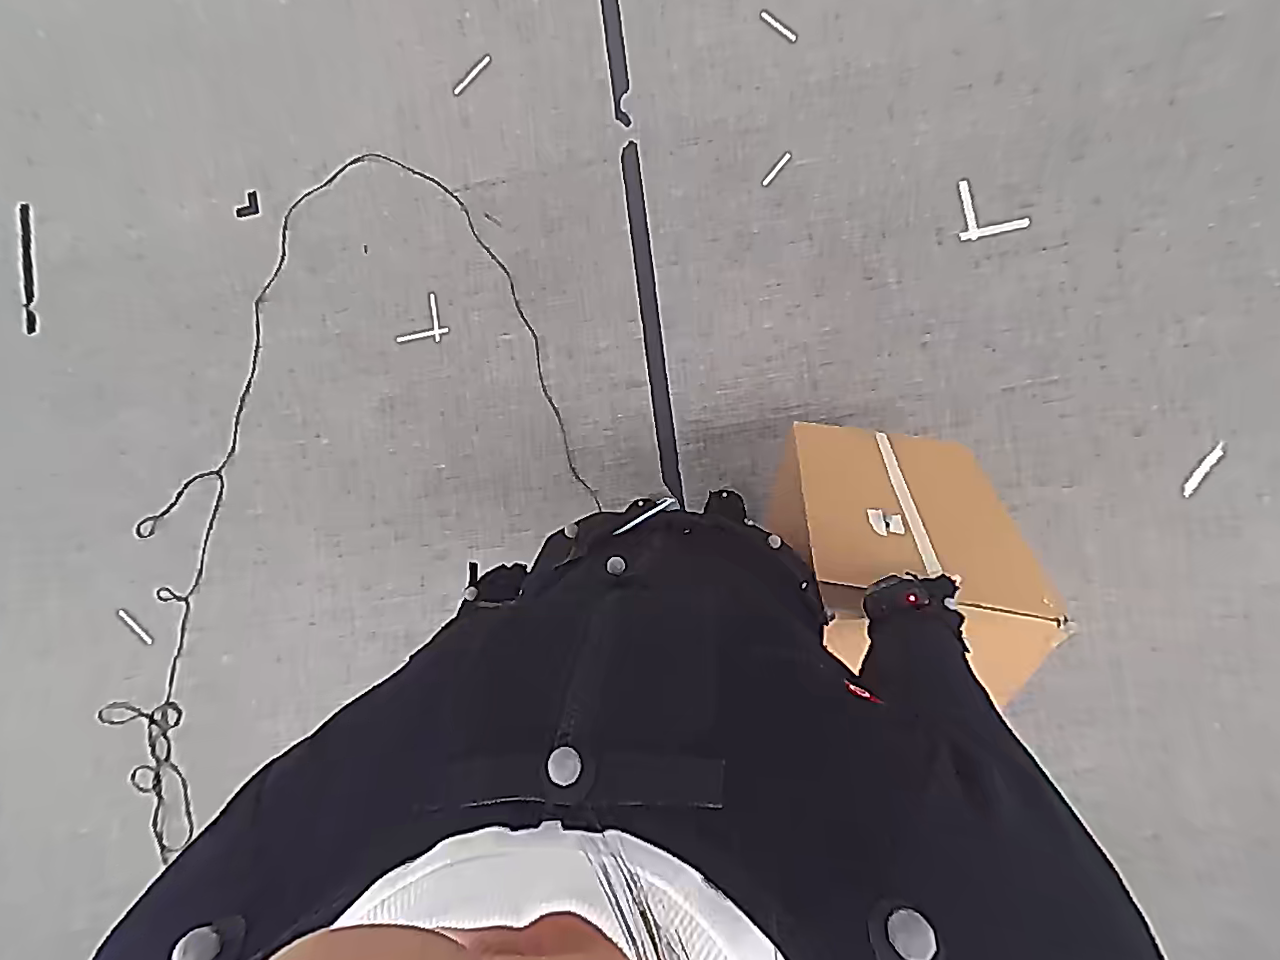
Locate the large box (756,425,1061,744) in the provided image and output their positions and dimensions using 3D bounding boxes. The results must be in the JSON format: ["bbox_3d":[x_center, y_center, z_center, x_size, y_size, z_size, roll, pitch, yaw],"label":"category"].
[{"bbox_3d":[0.384,0.156,0.917,0.320,0.408,0.320,8,128,6],"label":"large box"}]
